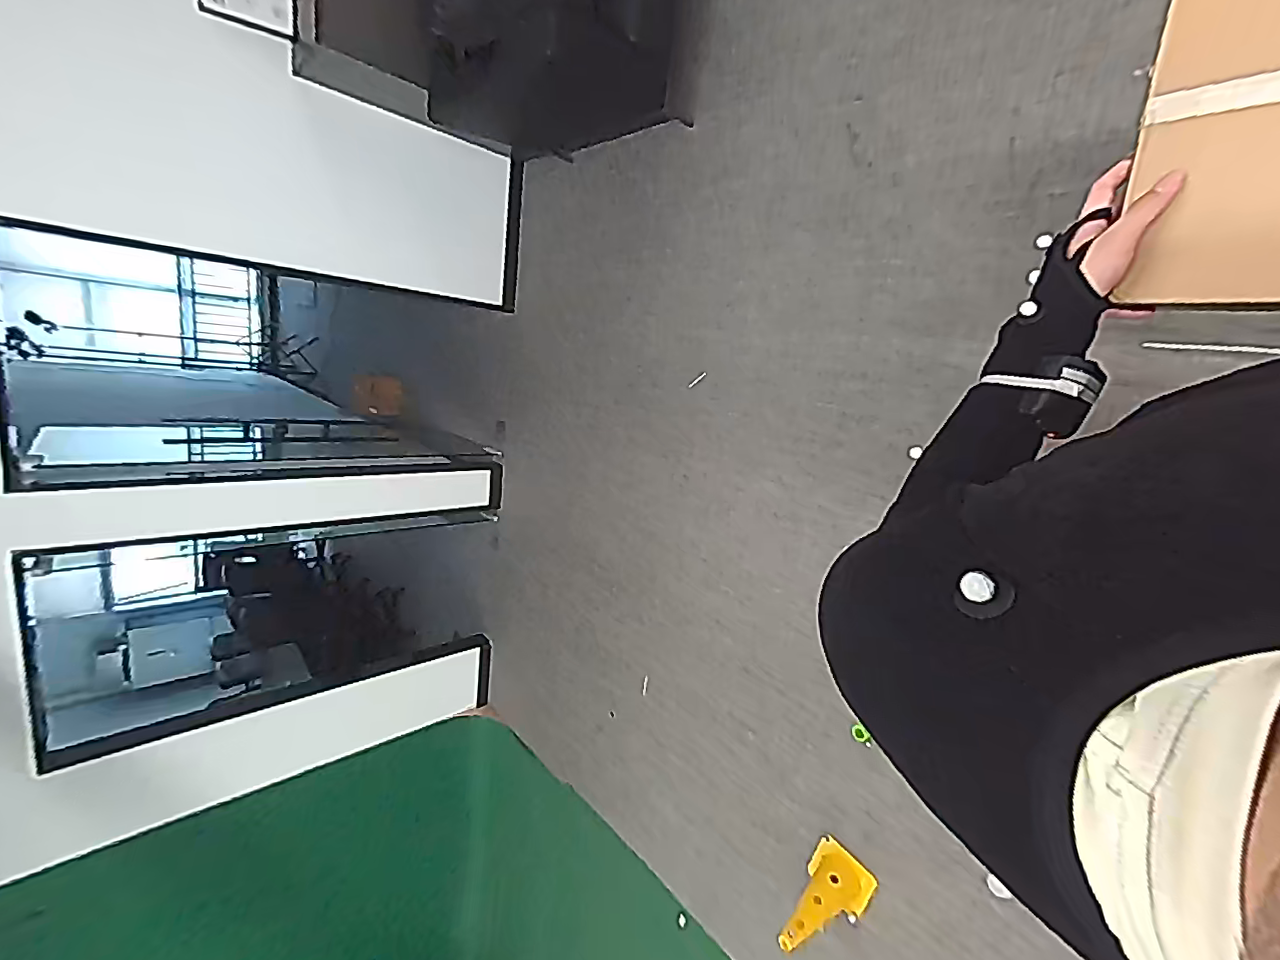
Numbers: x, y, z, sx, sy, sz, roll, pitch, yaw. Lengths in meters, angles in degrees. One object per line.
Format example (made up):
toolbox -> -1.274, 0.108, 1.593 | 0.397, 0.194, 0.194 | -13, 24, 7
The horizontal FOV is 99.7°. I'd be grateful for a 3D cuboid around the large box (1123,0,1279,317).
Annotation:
large box -> 0.693, -0.299, 0.429 | 0.408, 0.320, 0.320 | 16, 113, 45
